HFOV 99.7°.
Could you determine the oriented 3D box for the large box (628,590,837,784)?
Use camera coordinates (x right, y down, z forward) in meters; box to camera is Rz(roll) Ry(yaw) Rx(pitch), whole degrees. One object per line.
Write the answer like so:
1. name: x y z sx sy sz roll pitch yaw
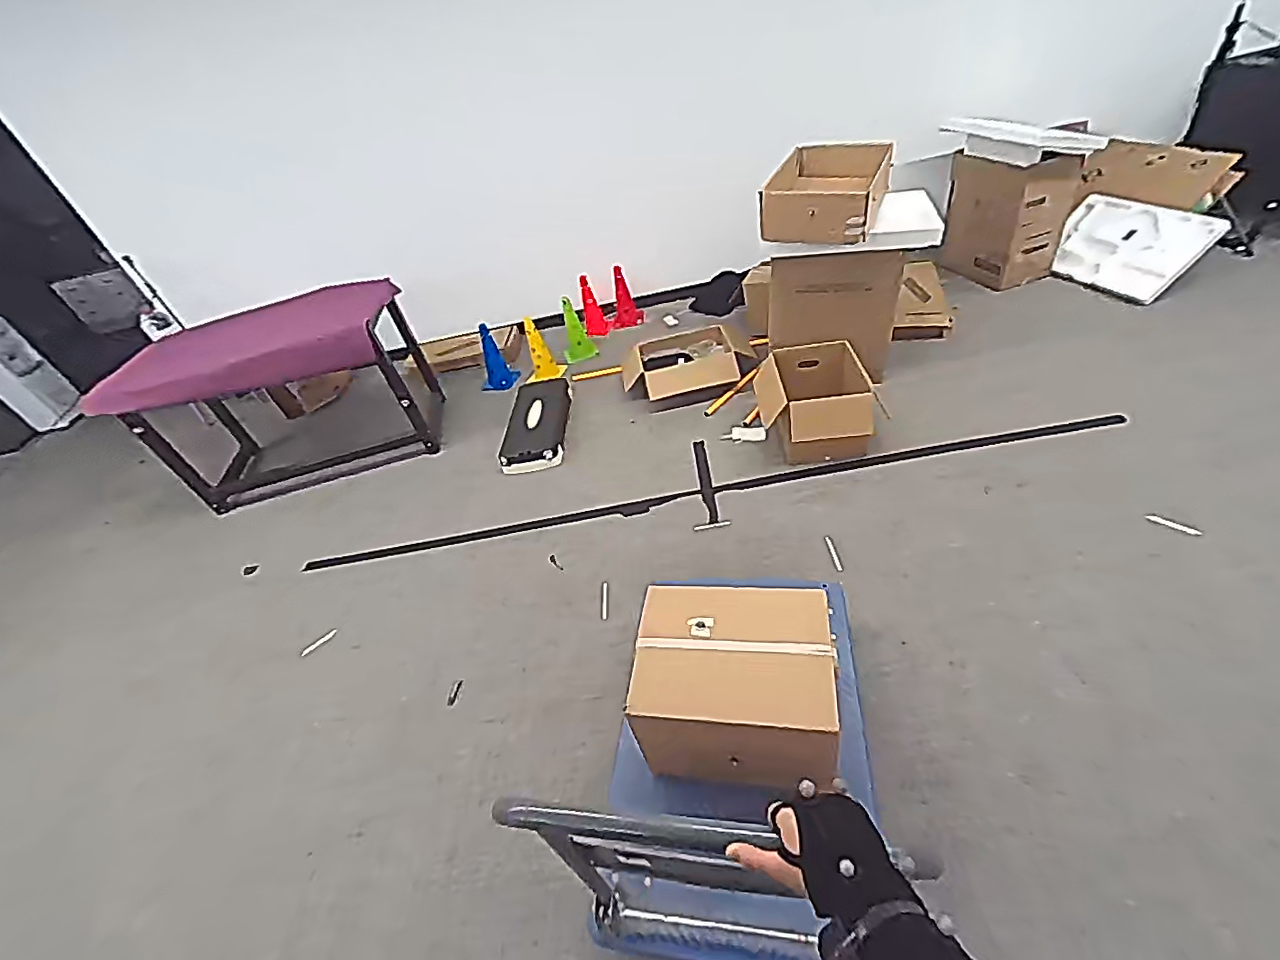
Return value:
1. large box: 0.220 0.470 1.238 0.408 0.320 0.320 -3 41 15
